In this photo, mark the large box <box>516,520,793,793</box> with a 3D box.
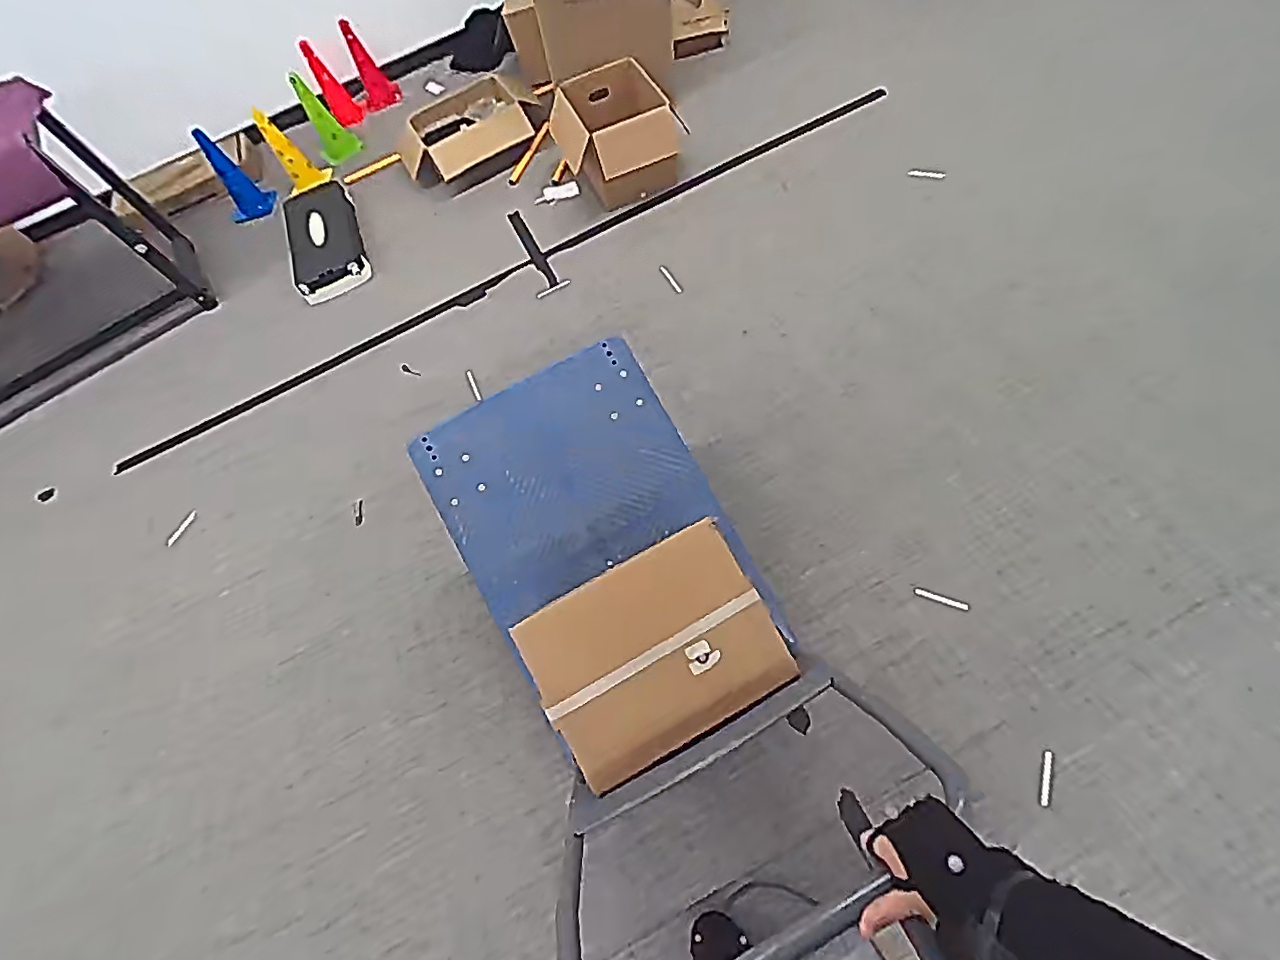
[{"bbox_3d":[0.021,0.323,1.090,0.408,0.320,0.320,-30,85,-6],"label":"large box"}]
